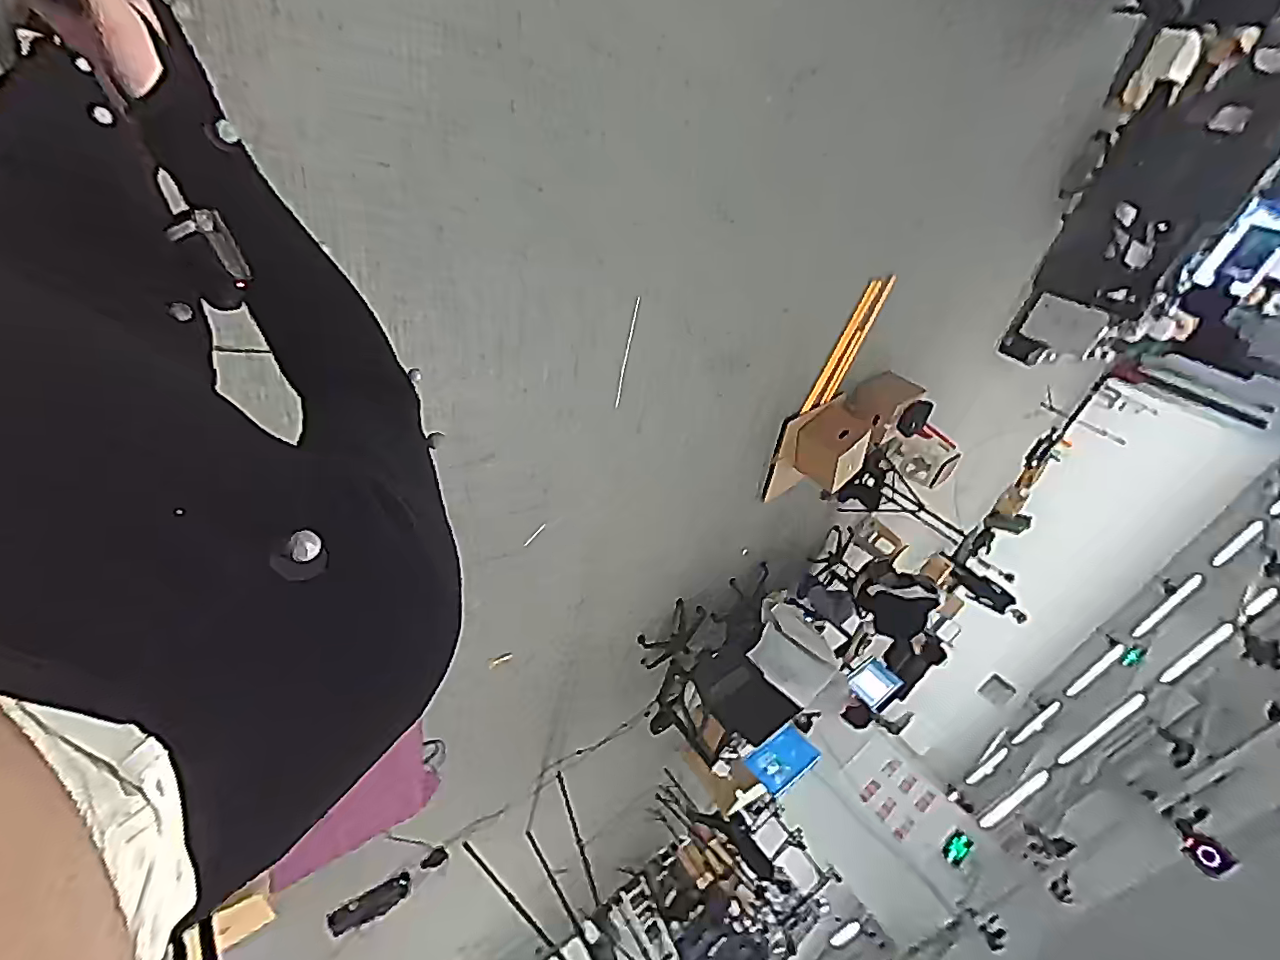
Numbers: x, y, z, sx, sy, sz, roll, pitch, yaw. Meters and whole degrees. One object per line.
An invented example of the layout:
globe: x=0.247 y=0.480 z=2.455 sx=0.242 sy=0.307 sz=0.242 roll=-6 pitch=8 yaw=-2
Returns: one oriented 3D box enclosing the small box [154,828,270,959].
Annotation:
small box: x=-0.962 y=0.933 z=1.219 sx=0.168 sy=0.176 sz=0.179 roll=-18 pitch=135 yaw=-36
